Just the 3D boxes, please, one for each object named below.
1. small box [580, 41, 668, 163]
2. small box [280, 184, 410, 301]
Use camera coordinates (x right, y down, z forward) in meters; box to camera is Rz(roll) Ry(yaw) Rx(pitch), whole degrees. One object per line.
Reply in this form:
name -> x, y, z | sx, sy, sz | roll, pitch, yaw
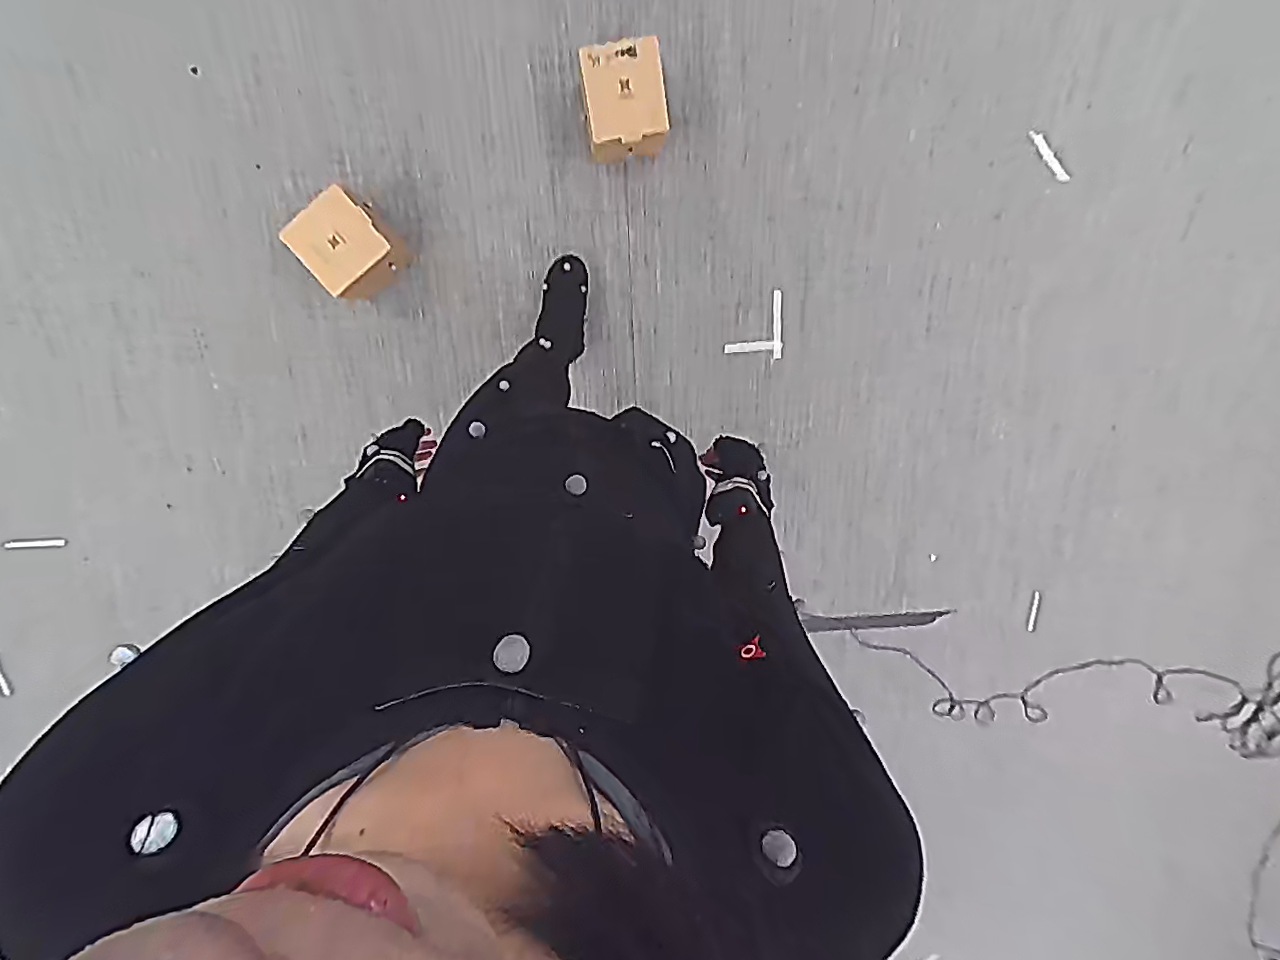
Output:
small box -> -0.036, -0.822, 1.196 | 0.168, 0.176, 0.179 | -10, 108, -2
small box -> -0.656, -0.529, 1.232 | 0.179, 0.176, 0.168 | -38, 104, 7
